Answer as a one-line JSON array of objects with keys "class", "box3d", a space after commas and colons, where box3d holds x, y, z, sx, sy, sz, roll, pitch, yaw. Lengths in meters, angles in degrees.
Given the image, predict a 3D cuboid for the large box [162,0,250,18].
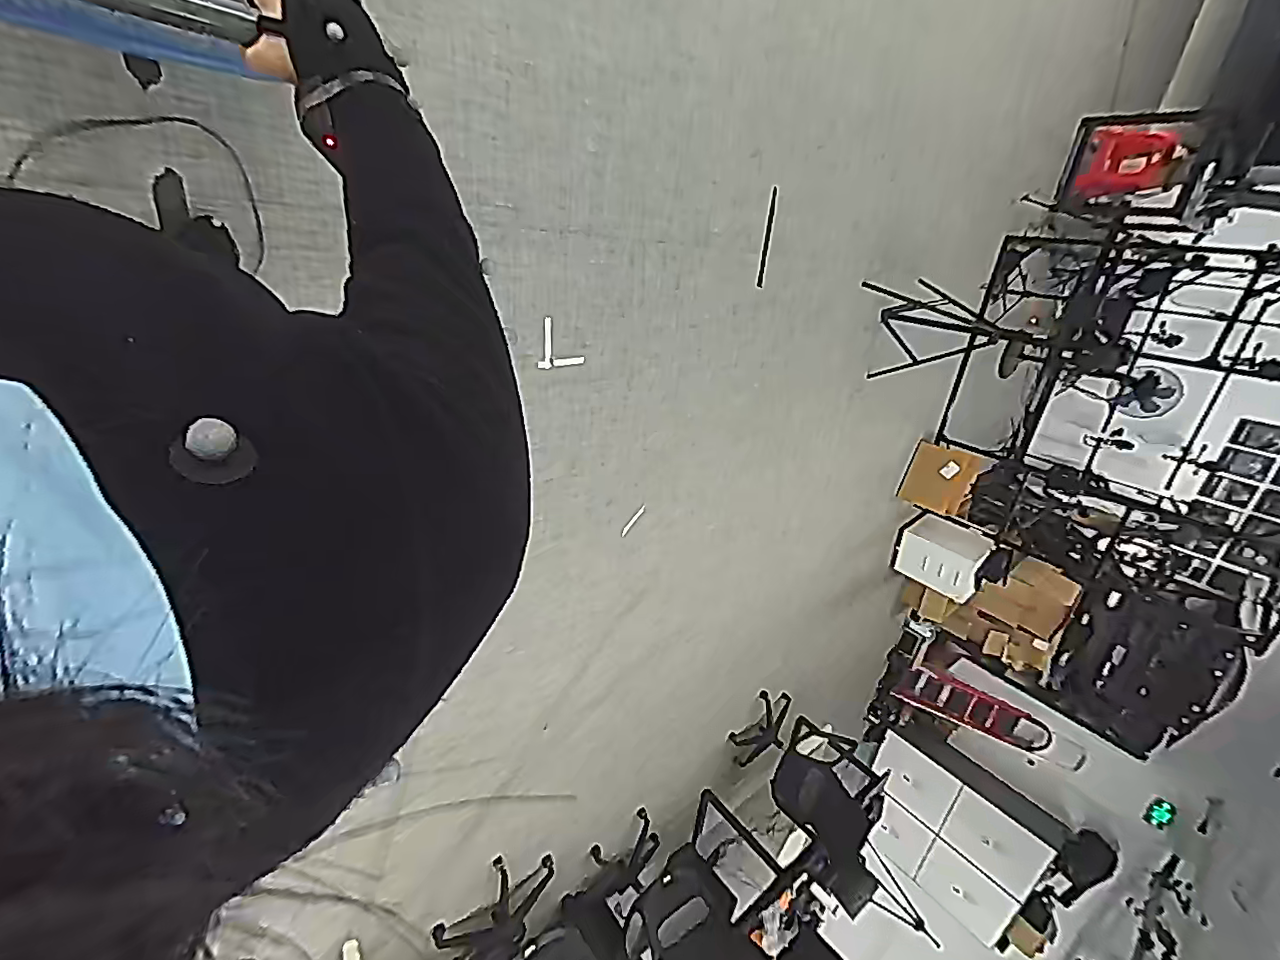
[{"class": "large box", "box3d": [-0.722, -0.811, 0.627, 0.408, 0.320, 0.320, -14, 125, -40]}]
